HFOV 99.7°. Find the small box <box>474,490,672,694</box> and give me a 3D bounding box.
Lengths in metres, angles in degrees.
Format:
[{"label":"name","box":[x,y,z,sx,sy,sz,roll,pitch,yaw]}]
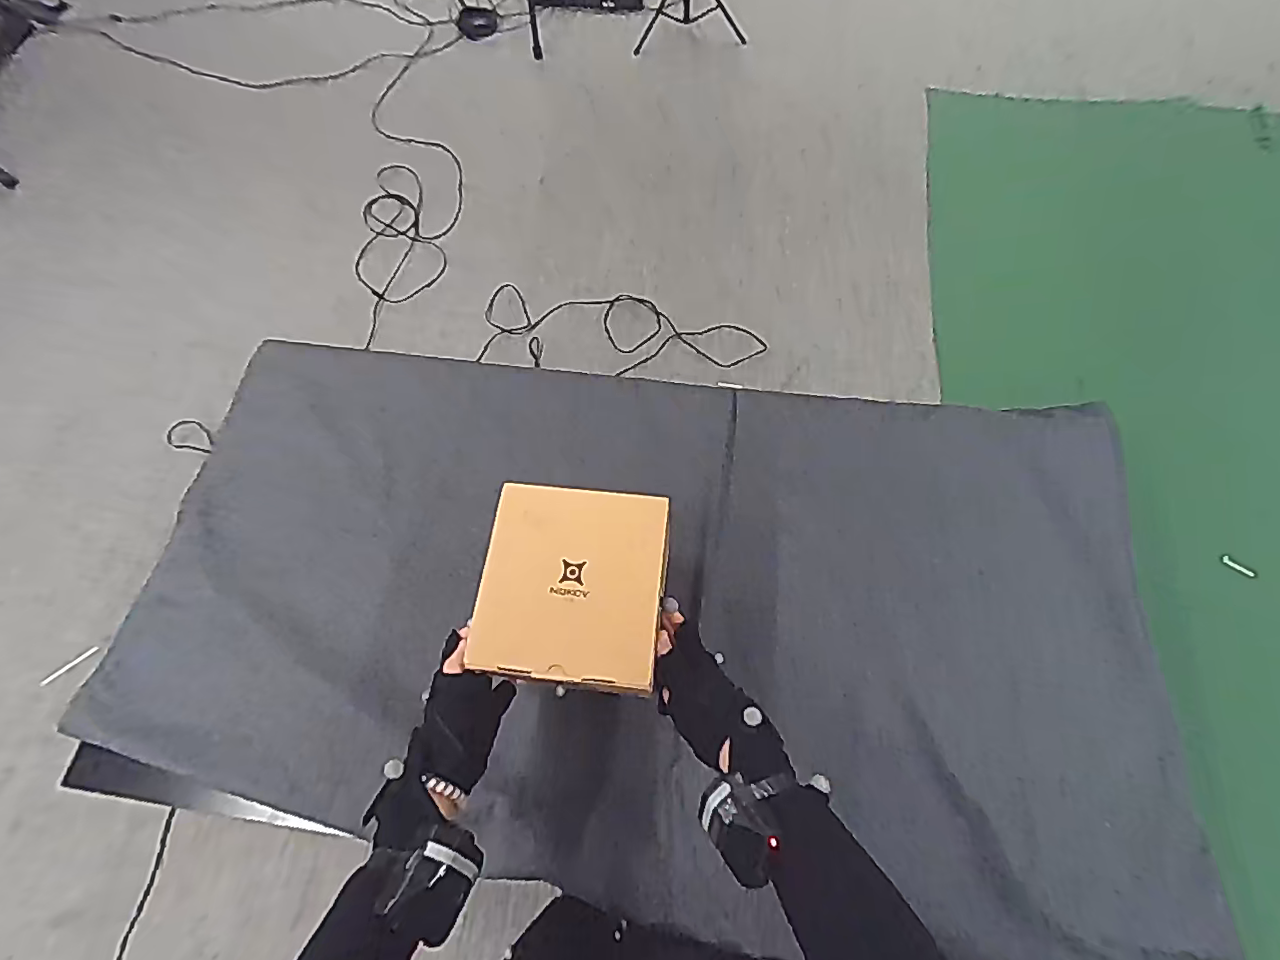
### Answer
[{"label":"small box","box":[-0.057,0.128,0.581,0.168,0.176,0.179,5,68,4]}]
